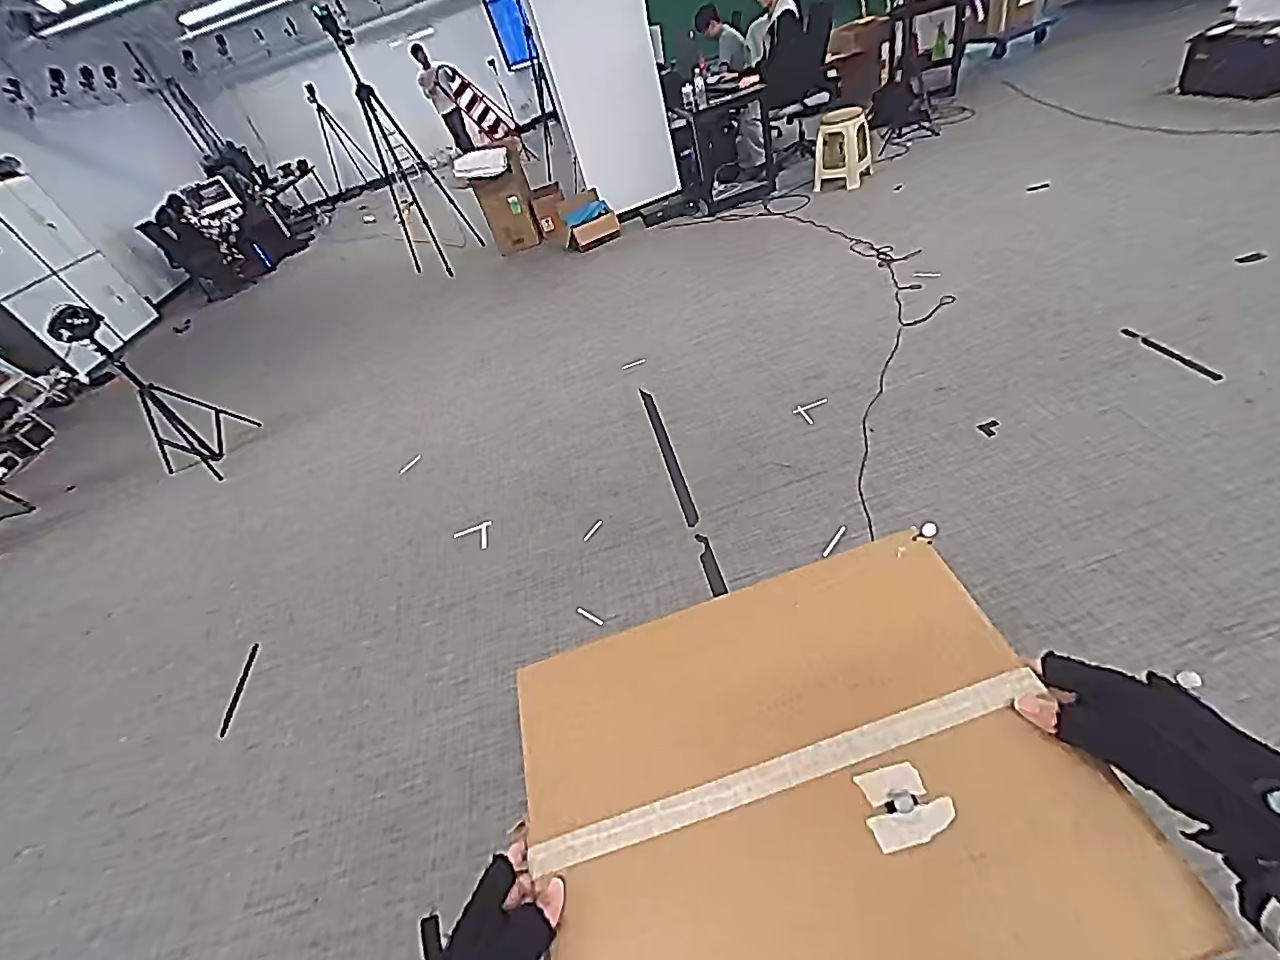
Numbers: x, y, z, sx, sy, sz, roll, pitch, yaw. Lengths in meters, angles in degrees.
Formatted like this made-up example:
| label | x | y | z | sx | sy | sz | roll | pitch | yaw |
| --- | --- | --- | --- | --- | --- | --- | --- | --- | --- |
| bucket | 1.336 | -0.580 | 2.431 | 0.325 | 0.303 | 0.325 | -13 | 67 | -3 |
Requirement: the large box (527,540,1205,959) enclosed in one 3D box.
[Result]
| label | x | y | z | sx | sy | sz | roll | pitch | yaw |
| --- | --- | --- | --- | --- | --- | --- | --- | --- | --- |
| large box | 0.148 | 0.326 | 0.527 | 0.408 | 0.320 | 0.320 | -20 | 47 | -1 |
